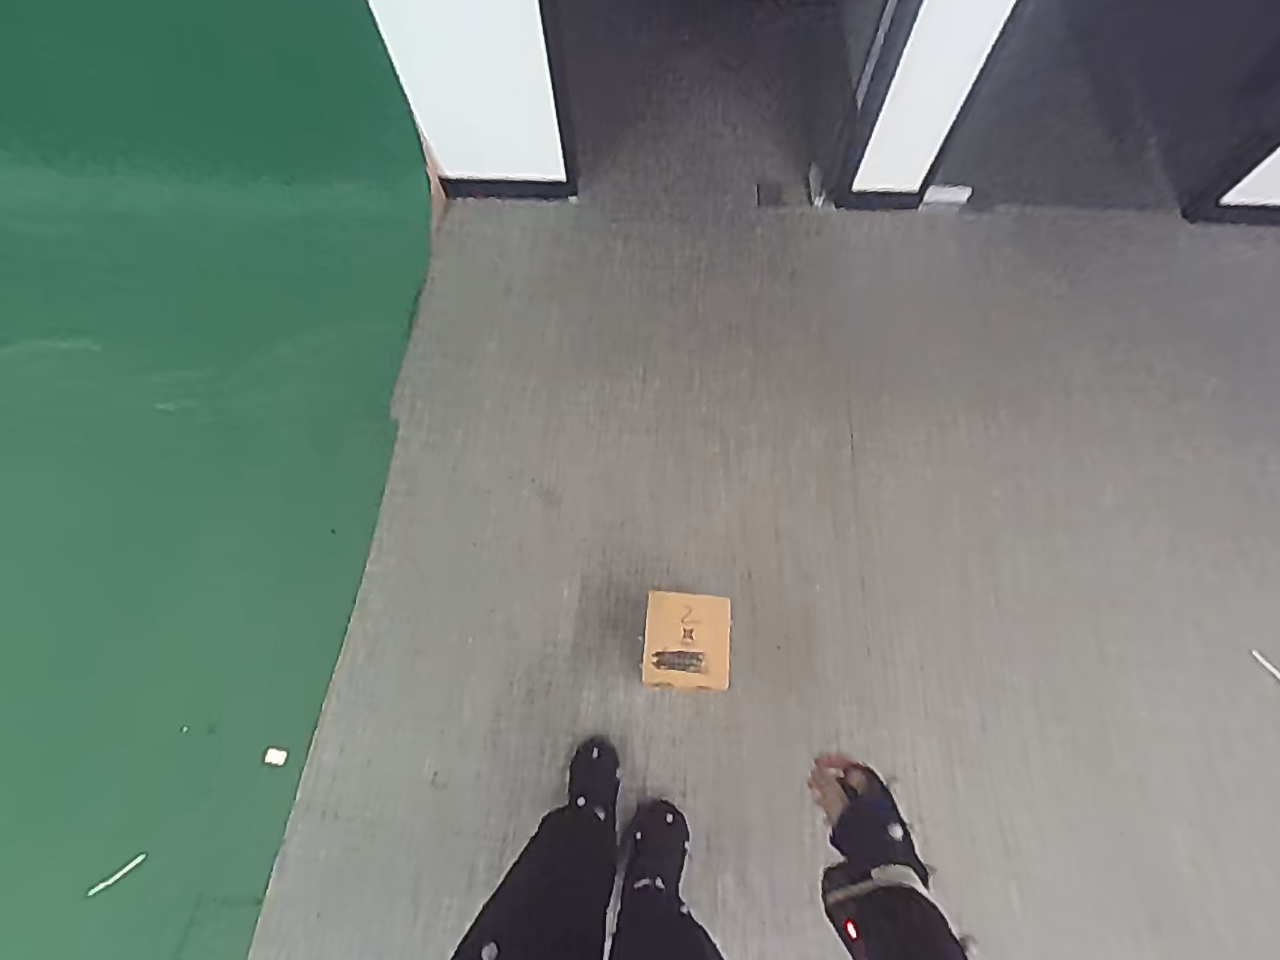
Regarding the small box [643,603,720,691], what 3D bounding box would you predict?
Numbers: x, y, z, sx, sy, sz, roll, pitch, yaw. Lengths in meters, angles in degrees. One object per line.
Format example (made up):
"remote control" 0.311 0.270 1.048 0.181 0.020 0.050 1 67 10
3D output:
"small box" 0.095 0.399 1.281 0.168 0.176 0.179 4 68 2
